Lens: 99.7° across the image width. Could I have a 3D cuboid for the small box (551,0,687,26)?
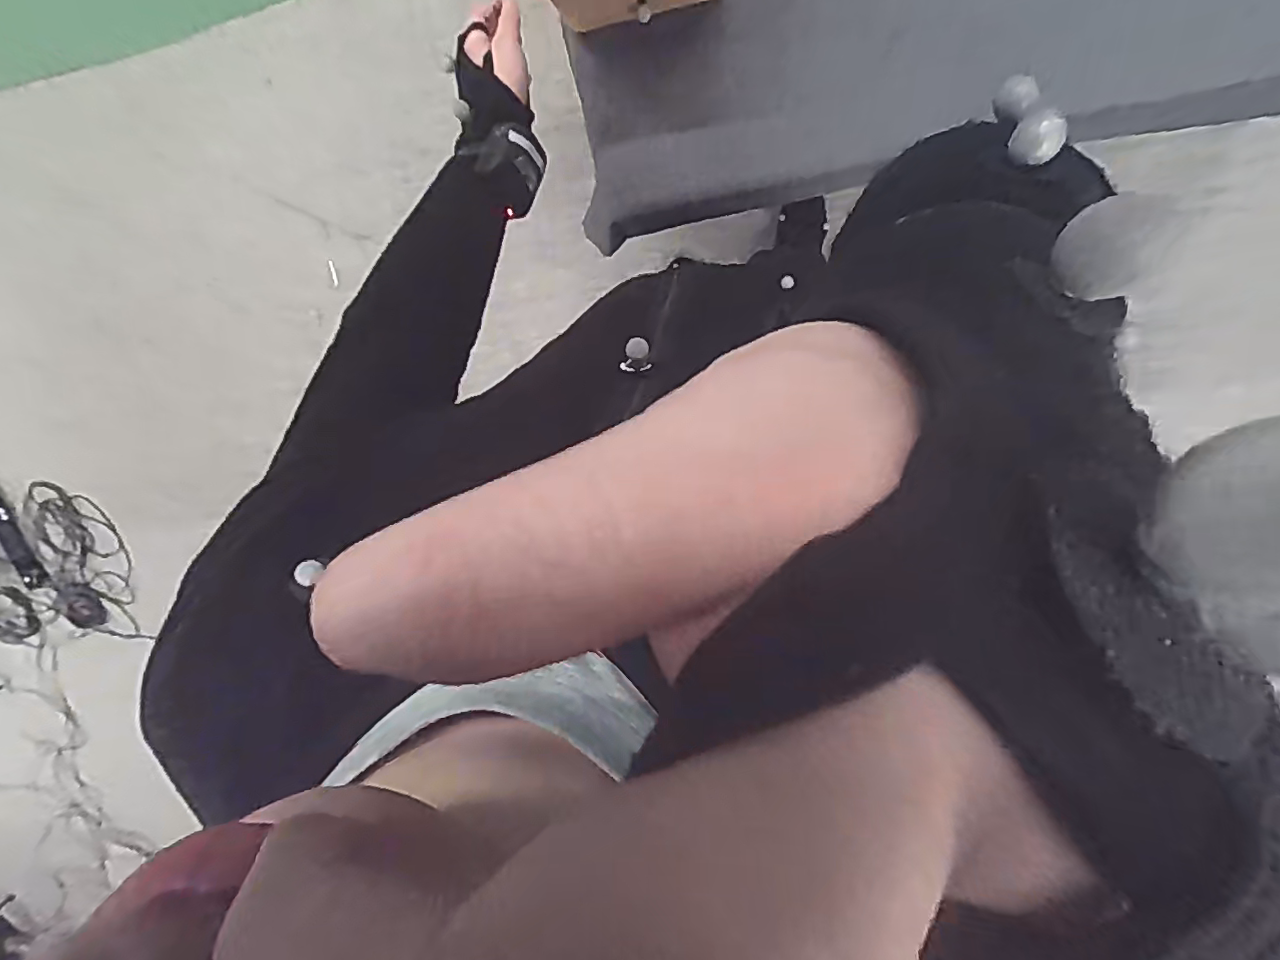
[{"bbox_3d":[-0.020,-0.572,0.509,0.179,0.176,0.168,-4,112,12],"label":"small box"}]
